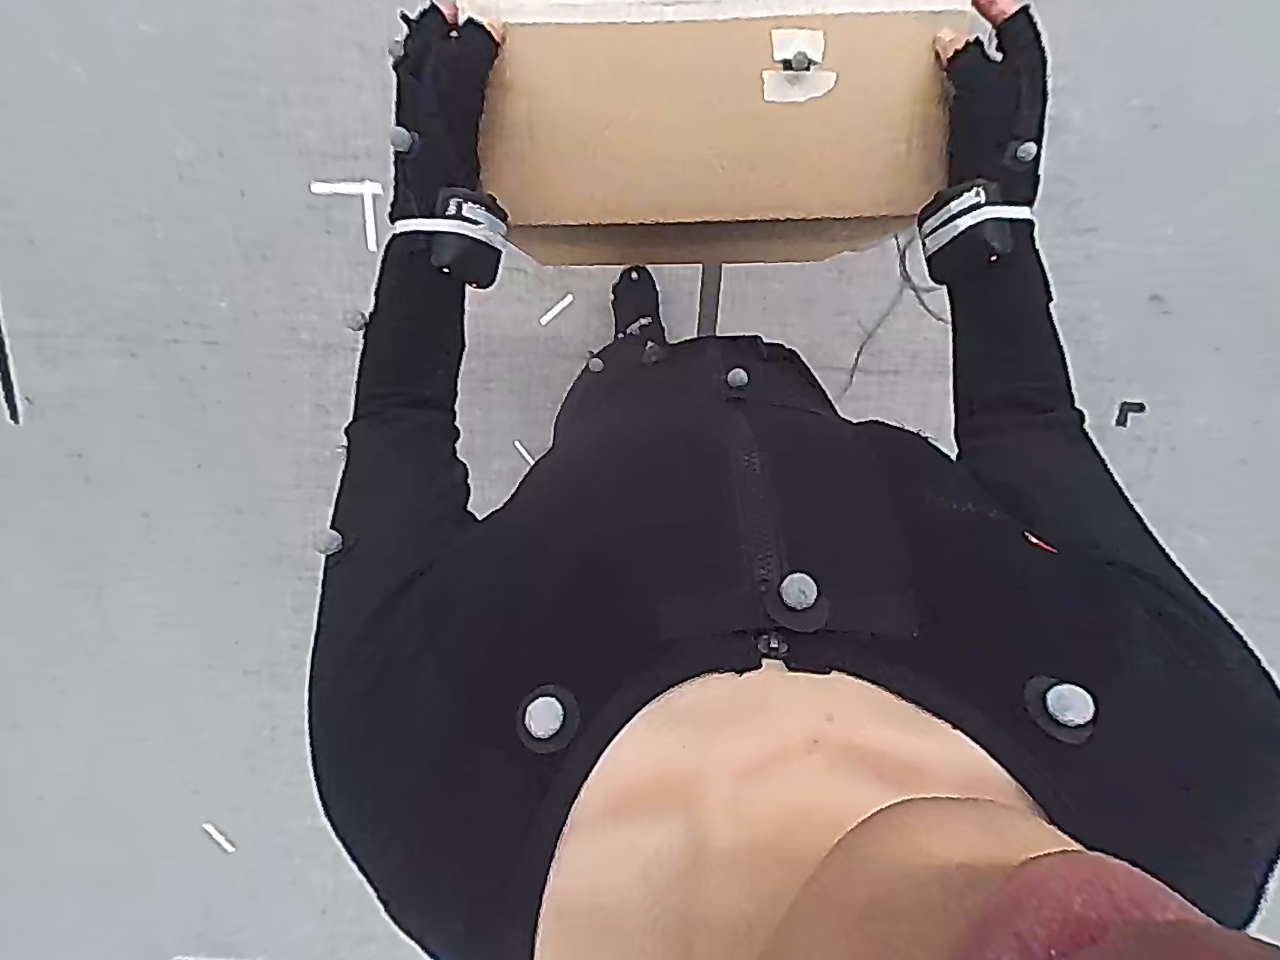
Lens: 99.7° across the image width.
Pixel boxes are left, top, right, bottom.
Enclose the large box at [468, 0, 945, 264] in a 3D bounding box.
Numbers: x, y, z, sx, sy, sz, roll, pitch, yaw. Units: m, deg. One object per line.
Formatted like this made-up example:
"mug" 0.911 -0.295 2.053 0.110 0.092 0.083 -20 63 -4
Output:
"large box" 0.051 -0.428 0.590 0.408 0.320 0.320 -2 106 -1
